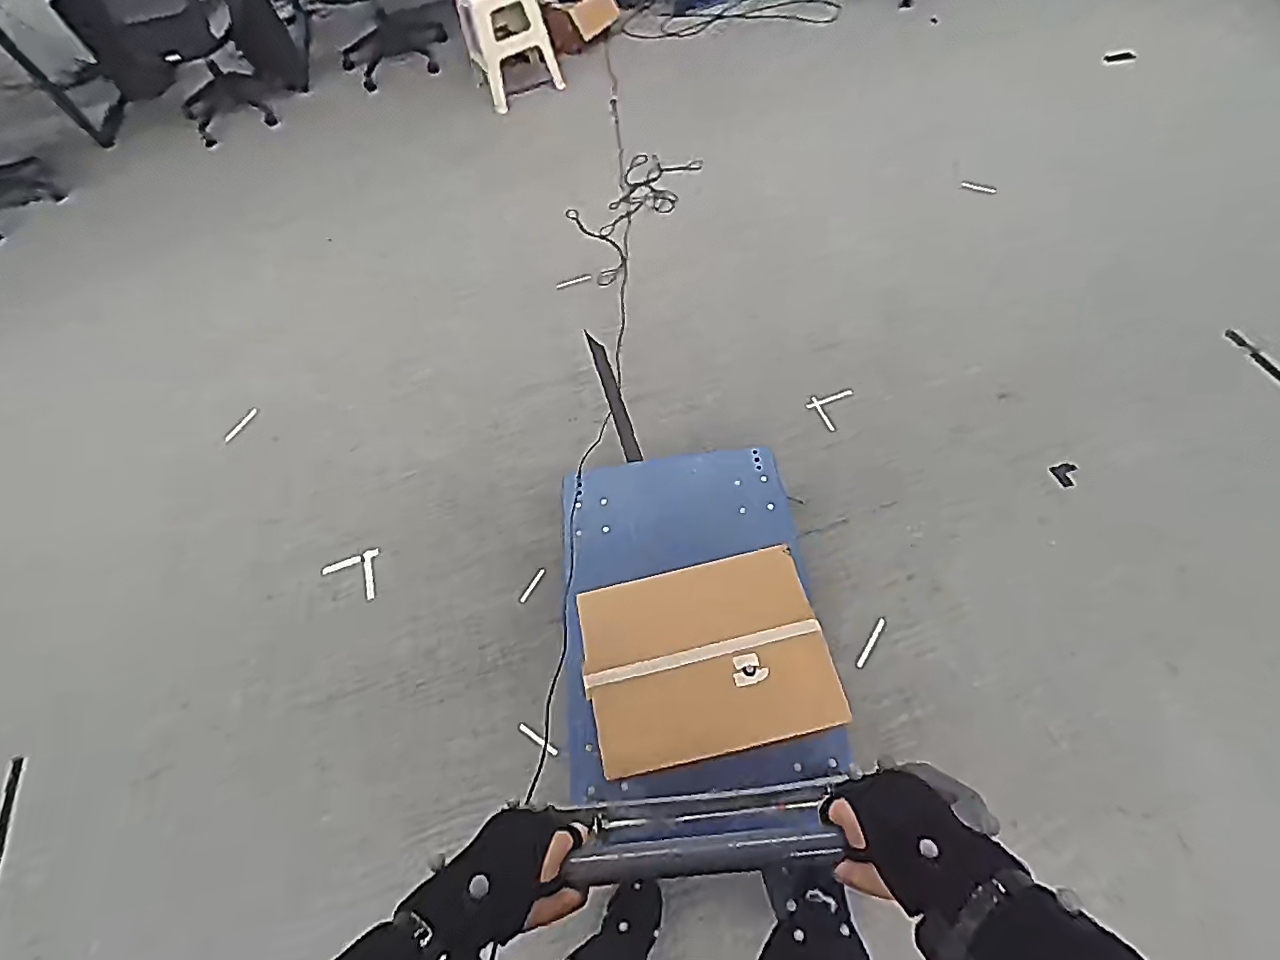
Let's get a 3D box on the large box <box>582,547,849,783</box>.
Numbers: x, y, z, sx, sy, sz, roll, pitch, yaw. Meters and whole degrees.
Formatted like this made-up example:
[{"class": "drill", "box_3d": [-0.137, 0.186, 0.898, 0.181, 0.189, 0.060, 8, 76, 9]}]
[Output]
[{"class": "large box", "box_3d": [0.130, 0.376, 1.068, 0.408, 0.320, 0.320, -14, 60, -1]}]
